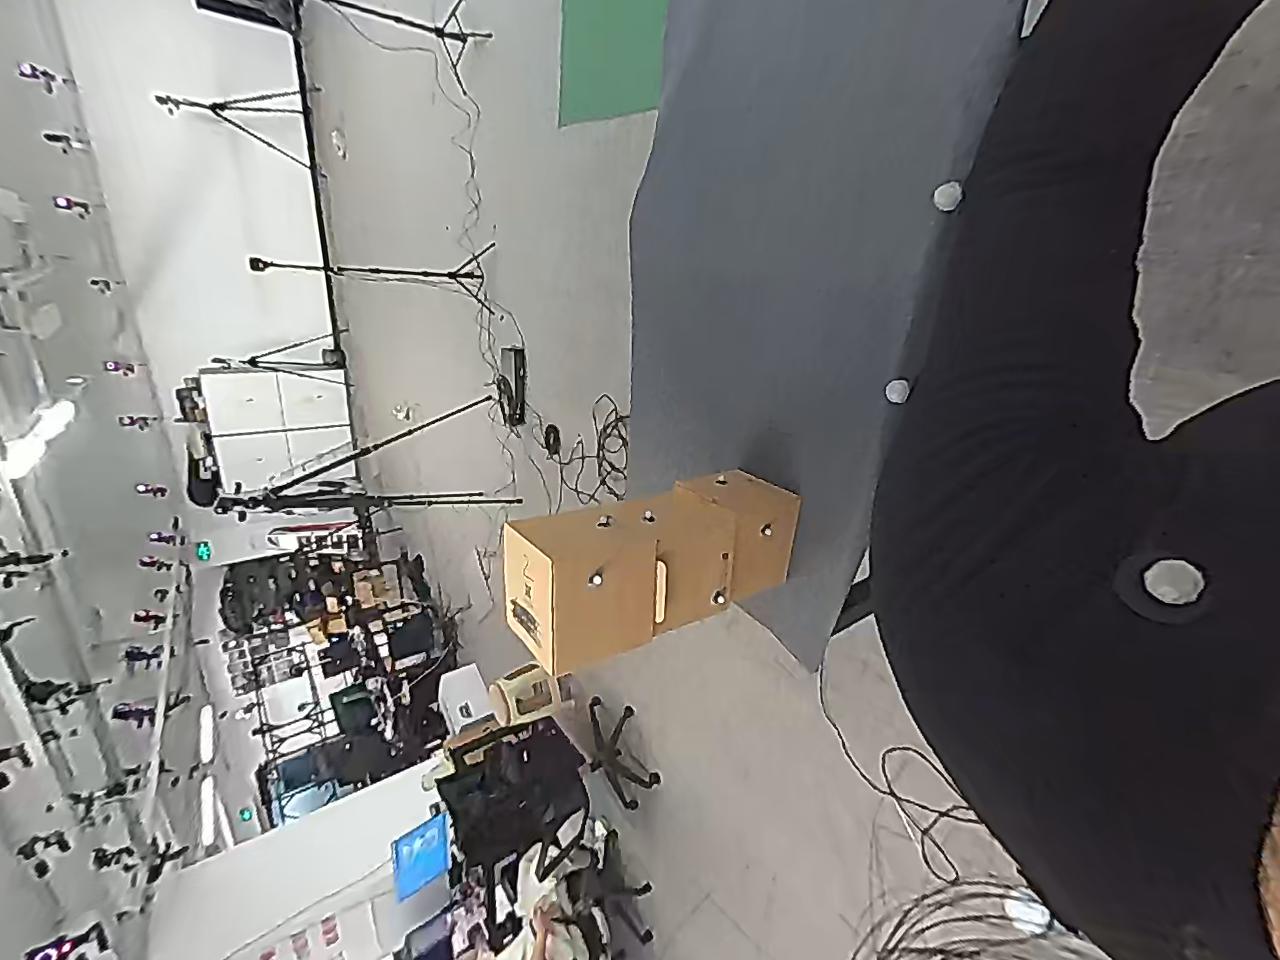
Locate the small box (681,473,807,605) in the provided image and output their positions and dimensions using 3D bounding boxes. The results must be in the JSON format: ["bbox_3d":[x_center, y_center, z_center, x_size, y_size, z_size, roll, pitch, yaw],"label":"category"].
[{"bbox_3d":[0.185,0.097,1.002,0.168,0.176,0.179,30,123,50],"label":"small box"}]

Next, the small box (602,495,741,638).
[{"bbox_3d":[0.051,0.132,0.913,0.179,0.176,0.168,25,118,52],"label":"small box"}]
